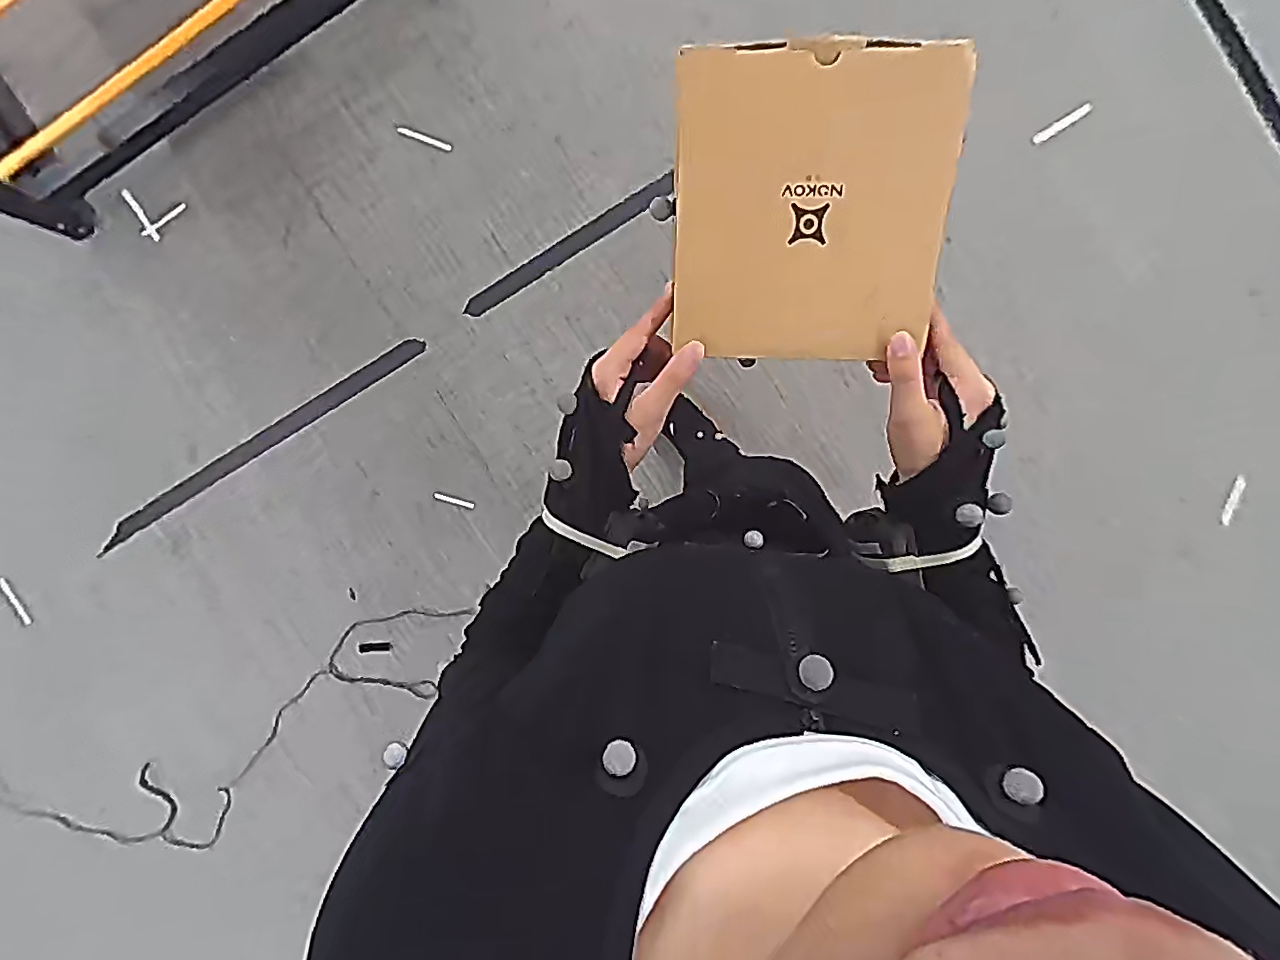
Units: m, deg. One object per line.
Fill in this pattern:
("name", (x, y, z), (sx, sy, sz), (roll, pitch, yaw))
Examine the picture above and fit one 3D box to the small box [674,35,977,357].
("small box", (0.111, -0.192, 0.406), (0.168, 0.176, 0.179), (1, 109, 4))
